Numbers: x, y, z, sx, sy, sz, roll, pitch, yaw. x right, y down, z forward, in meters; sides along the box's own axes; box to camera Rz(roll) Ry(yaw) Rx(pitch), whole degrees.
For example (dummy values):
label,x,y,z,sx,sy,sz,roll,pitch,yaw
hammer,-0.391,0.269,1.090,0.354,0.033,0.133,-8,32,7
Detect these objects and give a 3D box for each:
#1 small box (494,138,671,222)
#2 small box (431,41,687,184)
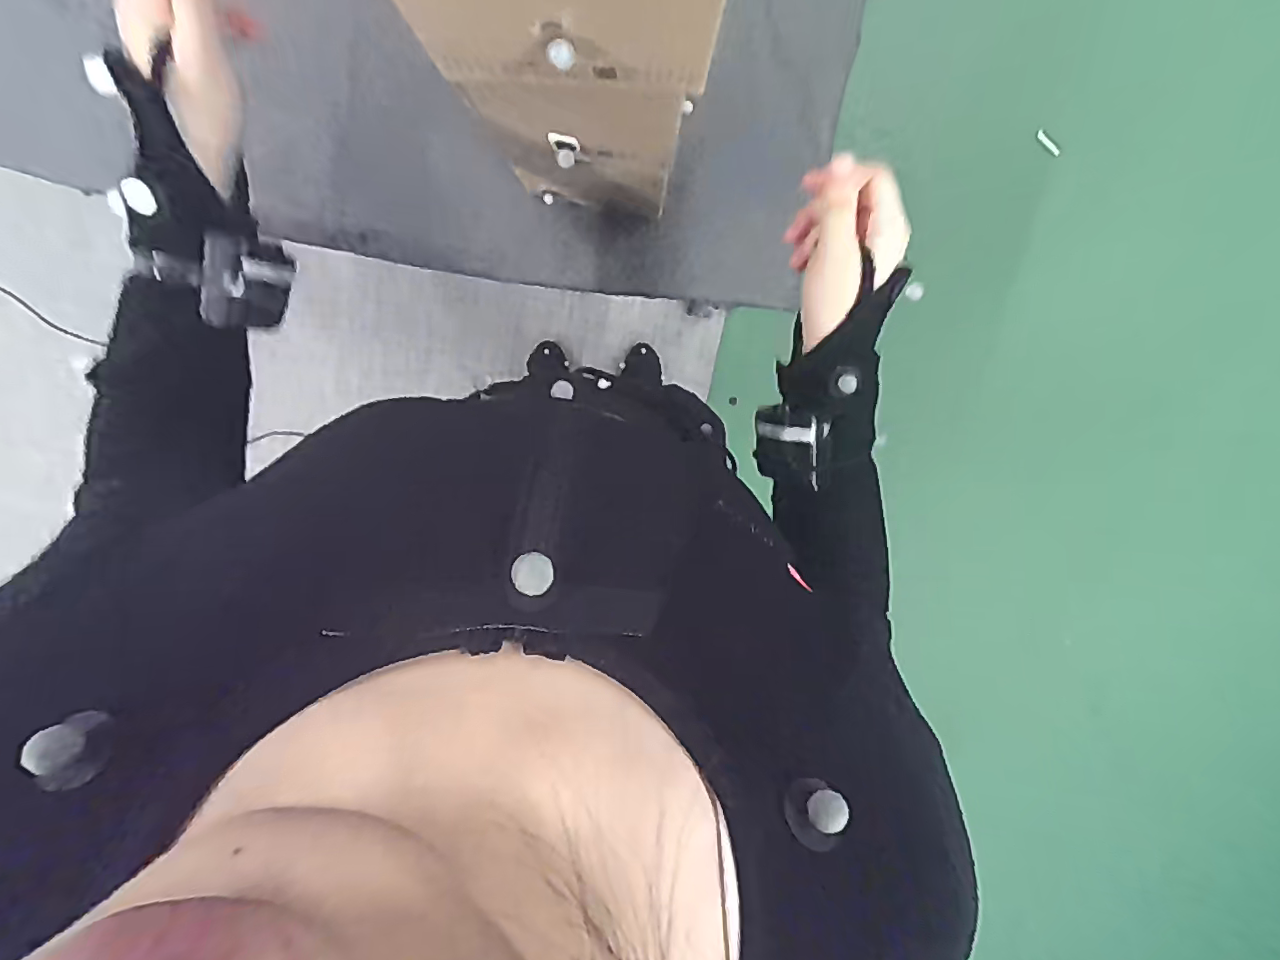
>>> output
label,x,y,z,sx,sy,sz,roll,pitch,yaw
small box,-0.040,-0.390,0.563,0.168,0.176,0.179,10,101,-3
small box,-0.041,-0.352,0.404,0.168,0.176,0.179,7,102,-2
